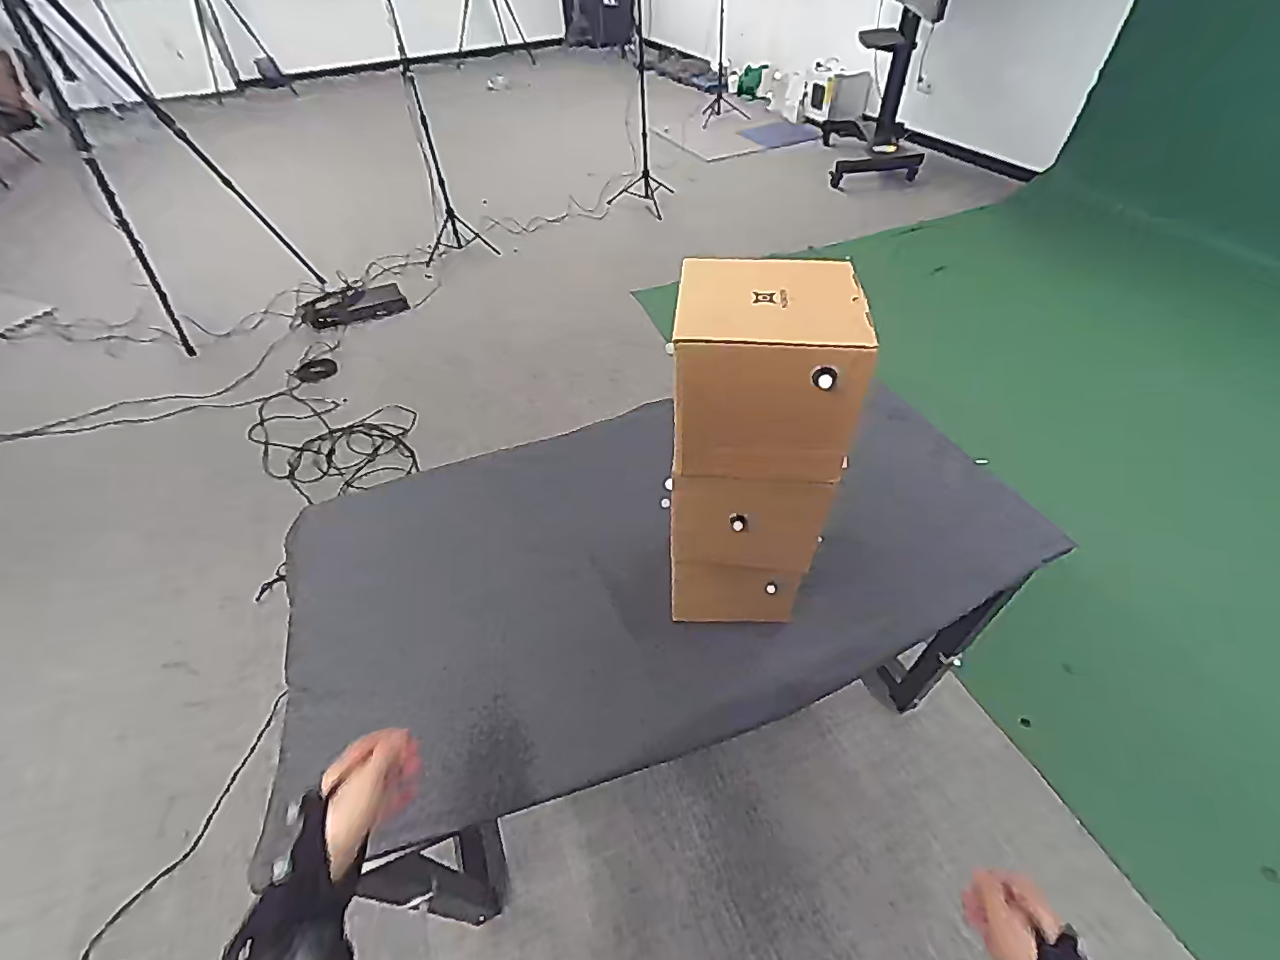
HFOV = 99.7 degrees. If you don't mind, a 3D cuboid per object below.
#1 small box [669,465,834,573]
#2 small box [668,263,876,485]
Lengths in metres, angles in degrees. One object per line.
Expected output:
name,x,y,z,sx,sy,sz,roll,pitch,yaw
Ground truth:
small box,0.133,0.001,0.685,0.179,0.176,0.168,4,46,8
small box,0.123,-0.110,0.567,0.179,0.176,0.168,4,46,6
